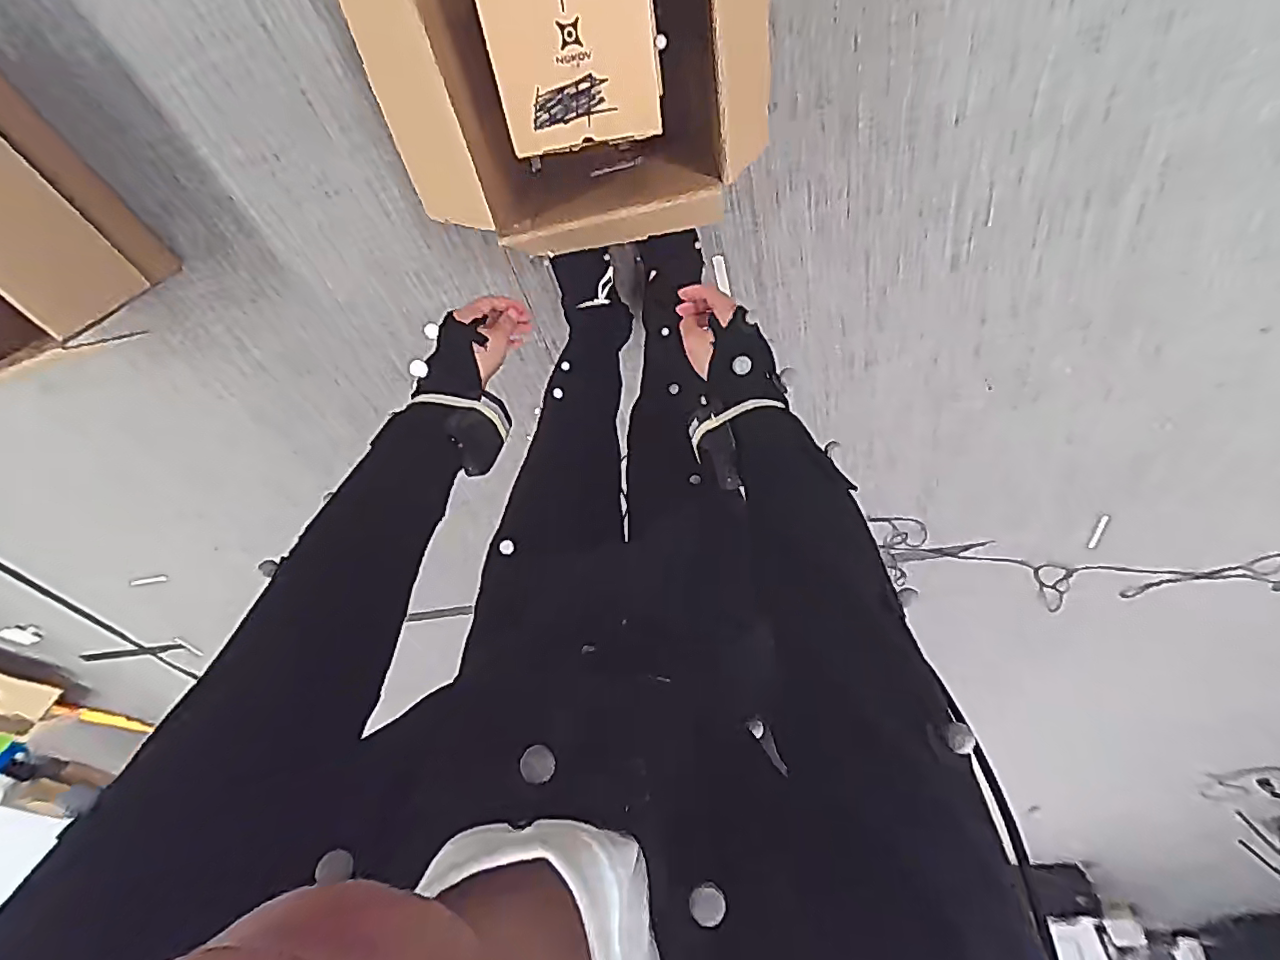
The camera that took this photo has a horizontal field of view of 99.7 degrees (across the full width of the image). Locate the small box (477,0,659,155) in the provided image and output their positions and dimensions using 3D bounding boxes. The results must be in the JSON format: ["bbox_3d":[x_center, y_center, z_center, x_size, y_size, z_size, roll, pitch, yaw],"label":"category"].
[{"bbox_3d":[-0.069,-0.486,0.595,0.168,0.176,0.179,-7,131,5],"label":"small box"}]
